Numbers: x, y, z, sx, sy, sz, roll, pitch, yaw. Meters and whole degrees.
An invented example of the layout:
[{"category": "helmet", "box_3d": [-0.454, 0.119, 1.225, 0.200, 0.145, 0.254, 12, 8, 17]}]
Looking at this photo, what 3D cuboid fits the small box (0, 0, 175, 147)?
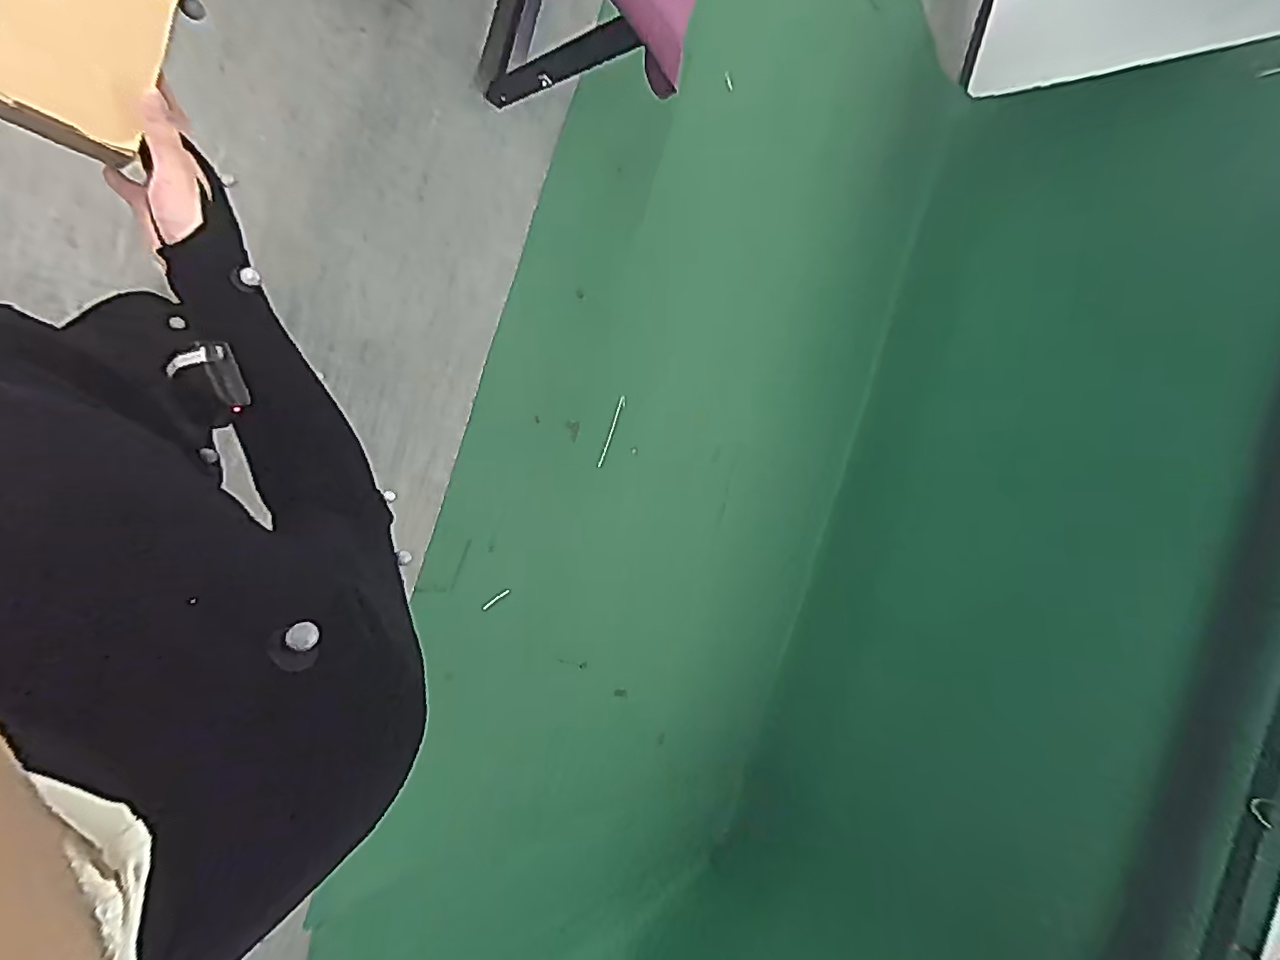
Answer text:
[{"category": "small box", "box_3d": [-0.446, -0.367, 0.375, 0.168, 0.176, 0.179, 14, 99, -50]}]
